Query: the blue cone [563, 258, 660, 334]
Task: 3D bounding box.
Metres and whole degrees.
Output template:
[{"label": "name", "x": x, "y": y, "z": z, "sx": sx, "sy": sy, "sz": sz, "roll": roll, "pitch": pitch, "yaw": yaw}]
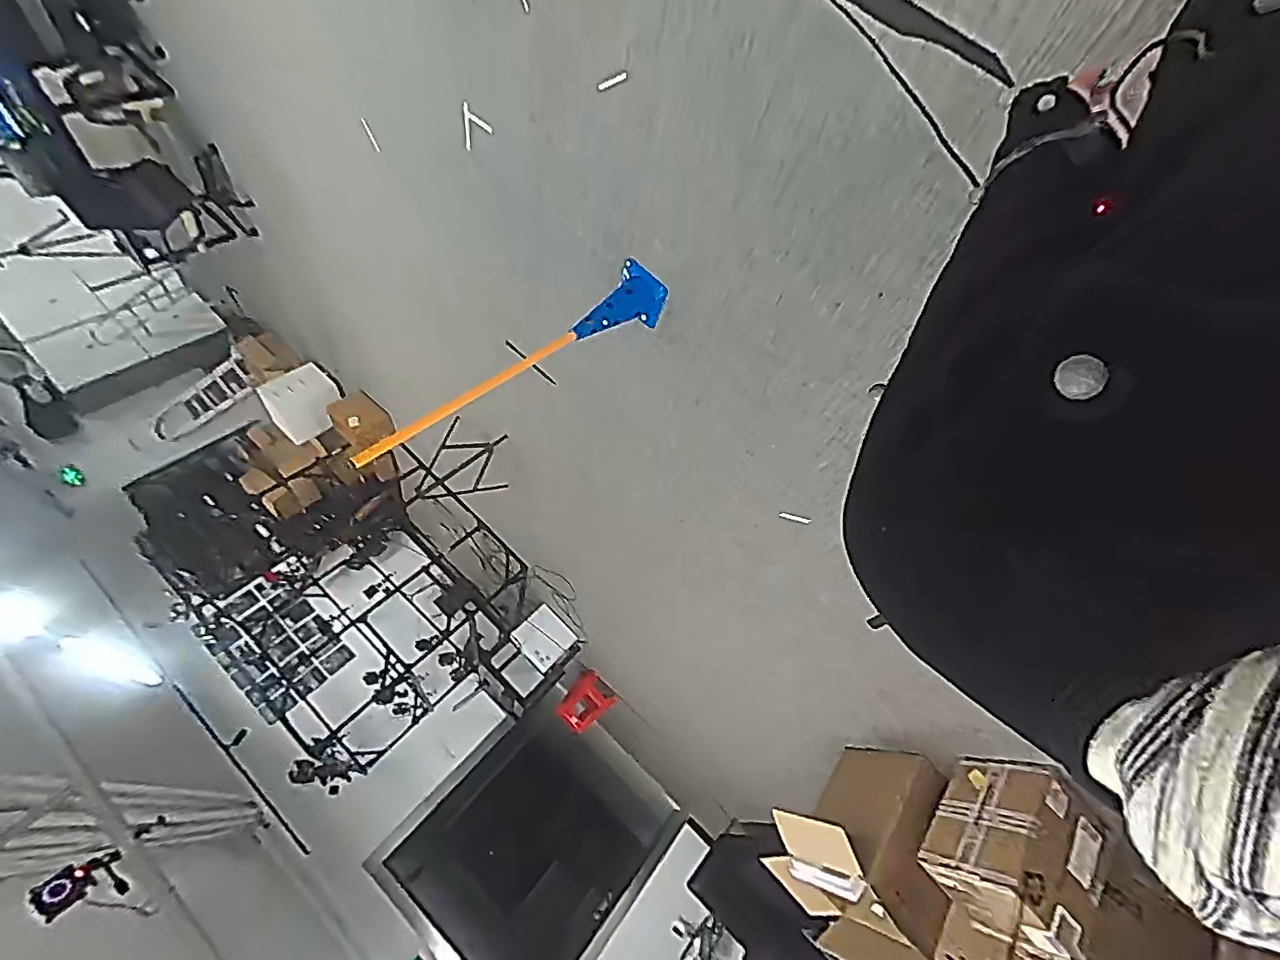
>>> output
[{"label": "blue cone", "x": -0.116, "y": -0.598, "z": 1.892, "sx": 0.192, "sy": 0.380, "sz": 0.193, "roll": 44, "pitch": 148, "yaw": 8}]
